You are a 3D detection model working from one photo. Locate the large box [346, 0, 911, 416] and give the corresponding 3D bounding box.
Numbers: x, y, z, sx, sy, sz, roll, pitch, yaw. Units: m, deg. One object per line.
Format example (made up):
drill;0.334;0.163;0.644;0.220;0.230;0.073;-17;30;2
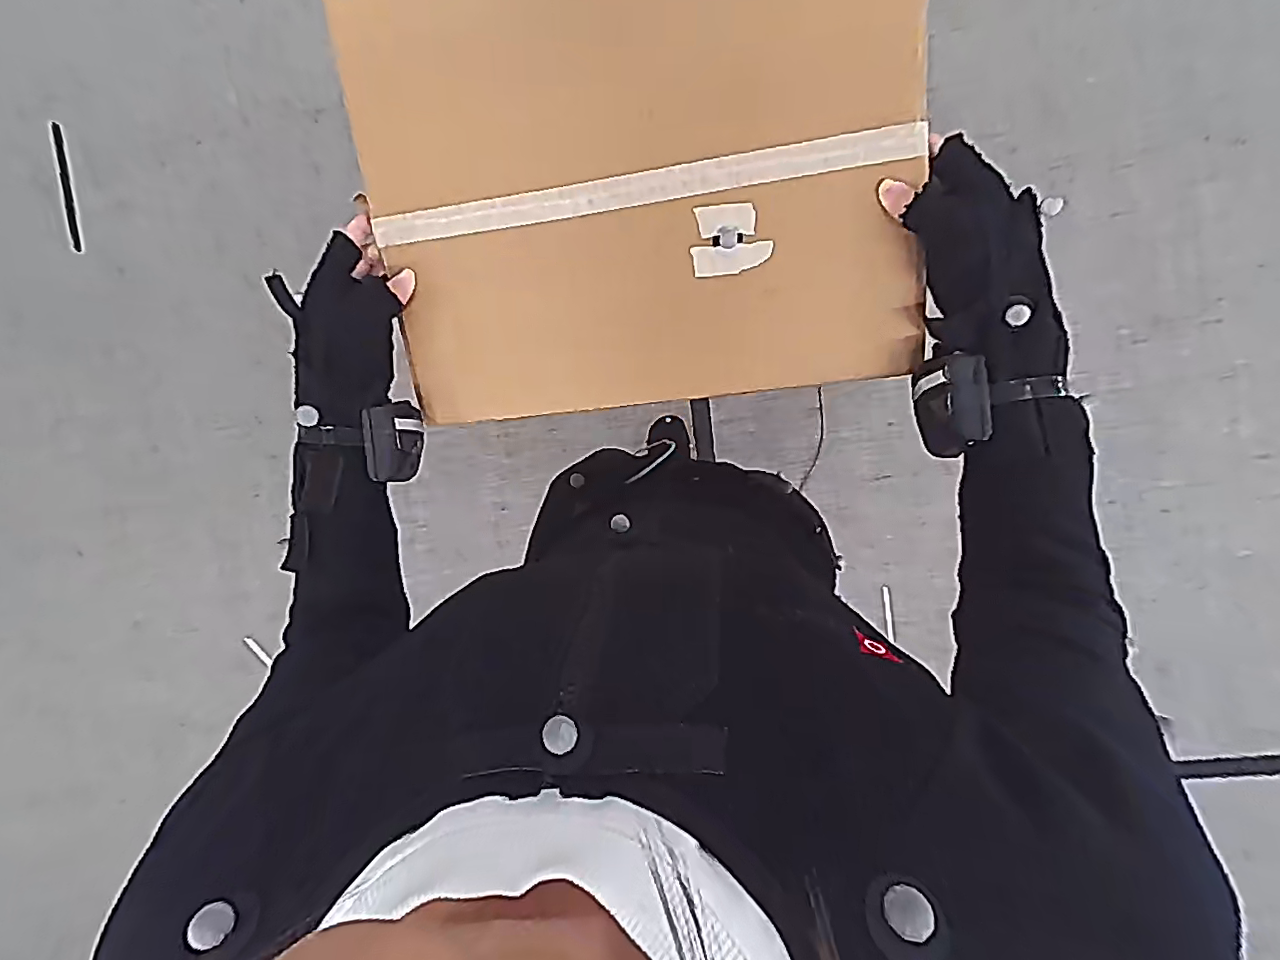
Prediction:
large box;0.010;-0.264;0.552;0.408;0.320;0.320;-5;107;8
